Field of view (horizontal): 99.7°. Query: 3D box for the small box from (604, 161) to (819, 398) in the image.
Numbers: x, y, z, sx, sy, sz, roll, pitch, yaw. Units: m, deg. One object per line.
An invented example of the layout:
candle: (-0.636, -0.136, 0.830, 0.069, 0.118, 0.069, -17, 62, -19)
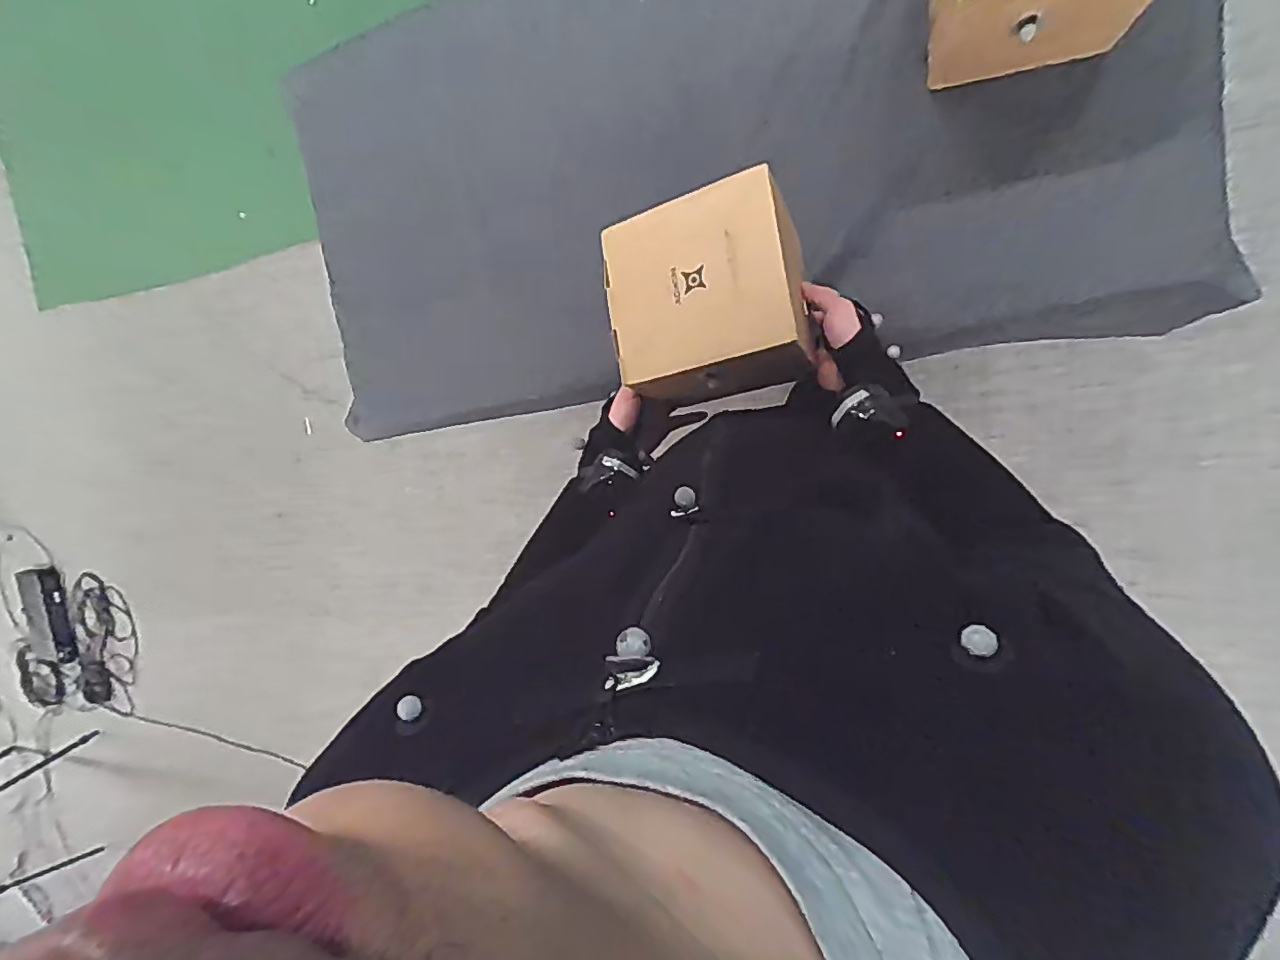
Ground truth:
small box: (0.084, -0.192, 0.584, 0.179, 0.176, 0.168, -10, 87, 23)

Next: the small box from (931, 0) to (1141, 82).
small box: (0.387, -0.521, 0.516, 0.179, 0.176, 0.168, 0, 101, 20)
